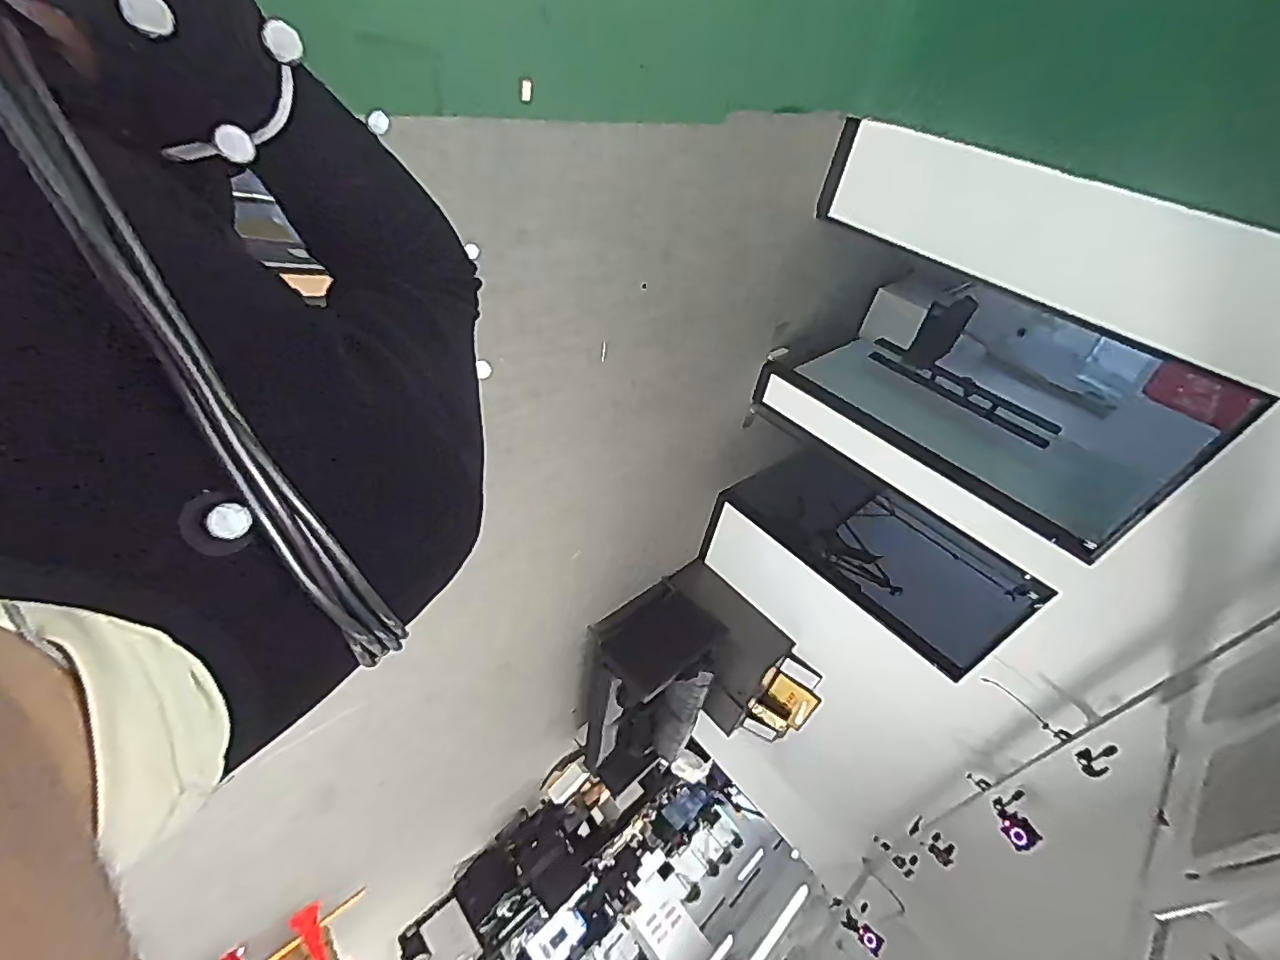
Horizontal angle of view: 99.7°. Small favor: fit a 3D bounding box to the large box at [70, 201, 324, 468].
[{"bbox_3d":[-0.876,-0.297,1.105,0.320,0.320,0.408,-17,138,-45],"label":"large box"}]
